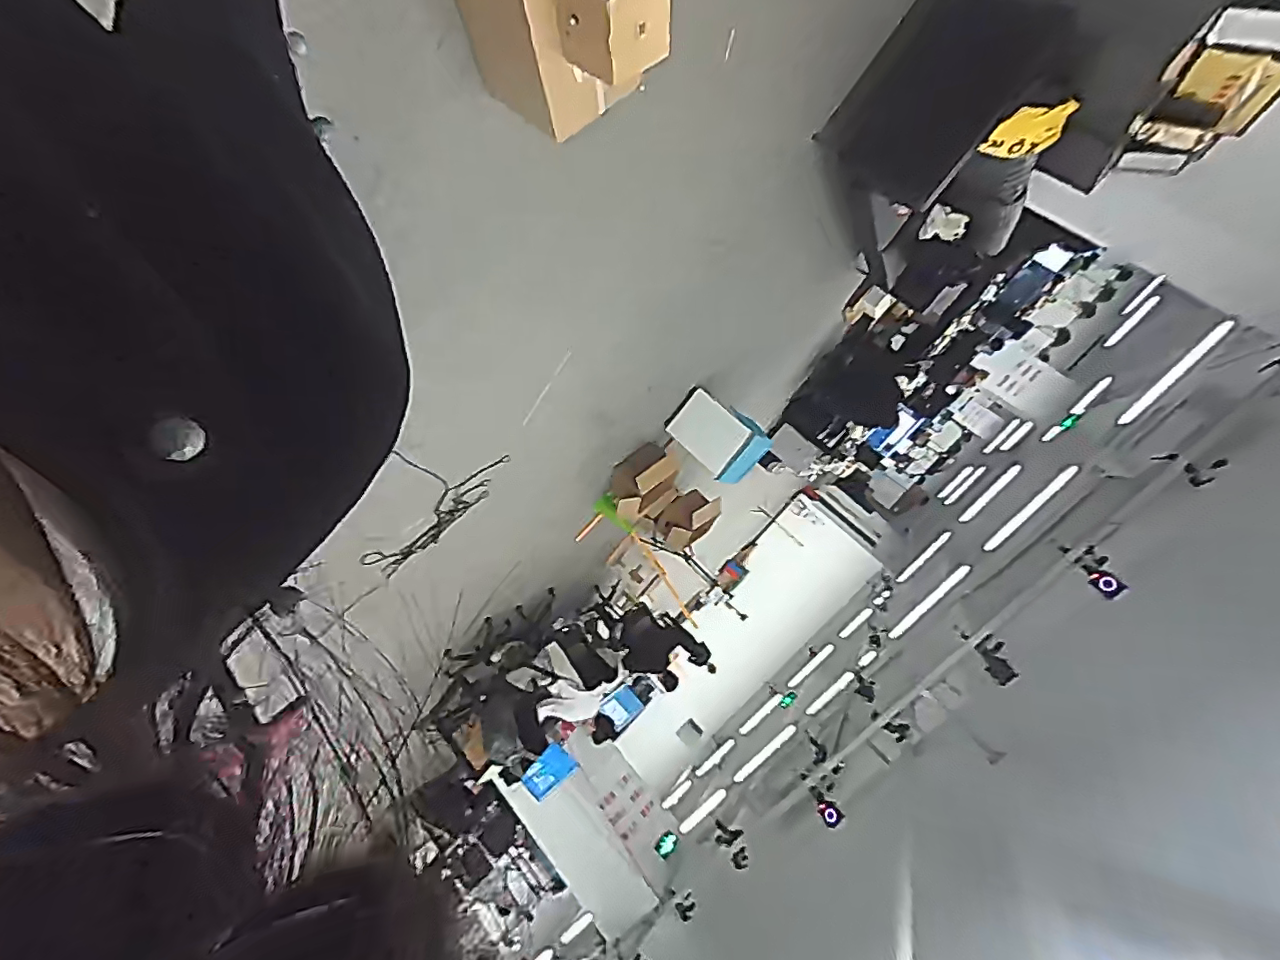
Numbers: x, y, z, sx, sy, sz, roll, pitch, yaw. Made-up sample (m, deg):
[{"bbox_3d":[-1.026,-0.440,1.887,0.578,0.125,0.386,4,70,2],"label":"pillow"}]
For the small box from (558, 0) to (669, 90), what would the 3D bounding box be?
[{"bbox_3d":[-0.055,-0.998,1.166,0.179,0.176,0.168,-42,161,-15],"label":"small box"}]

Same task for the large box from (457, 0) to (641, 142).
[{"bbox_3d":[-0.224,-1.137,1.283,0.320,0.320,0.408,-42,162,-11],"label":"large box"}]
